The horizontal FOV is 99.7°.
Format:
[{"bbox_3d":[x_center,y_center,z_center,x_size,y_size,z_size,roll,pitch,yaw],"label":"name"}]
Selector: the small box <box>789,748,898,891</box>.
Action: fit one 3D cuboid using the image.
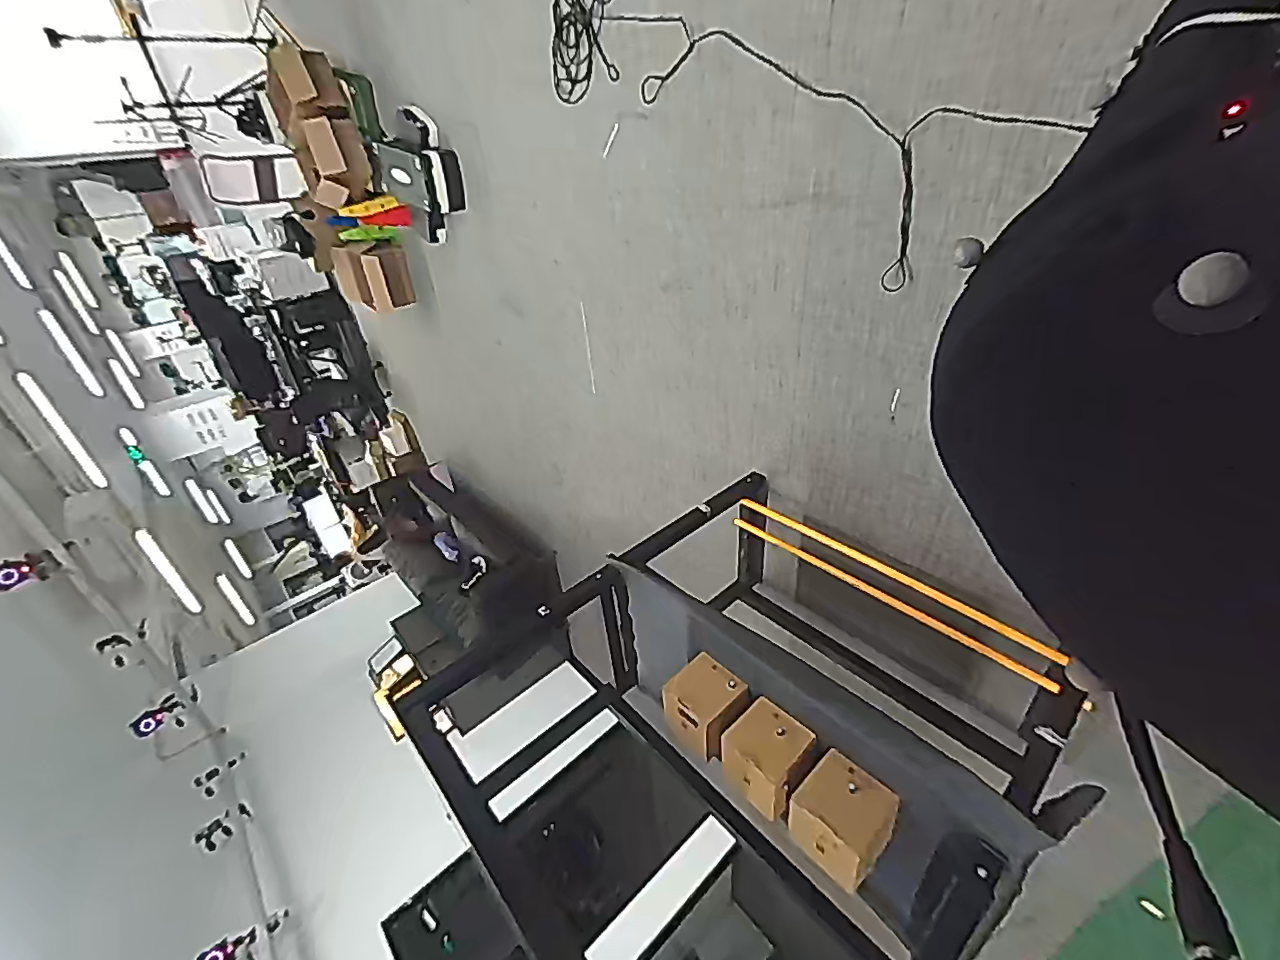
[{"bbox_3d":[0.454,0.753,1.213,0.168,0.176,0.179,26,134,43],"label":"small box"}]
